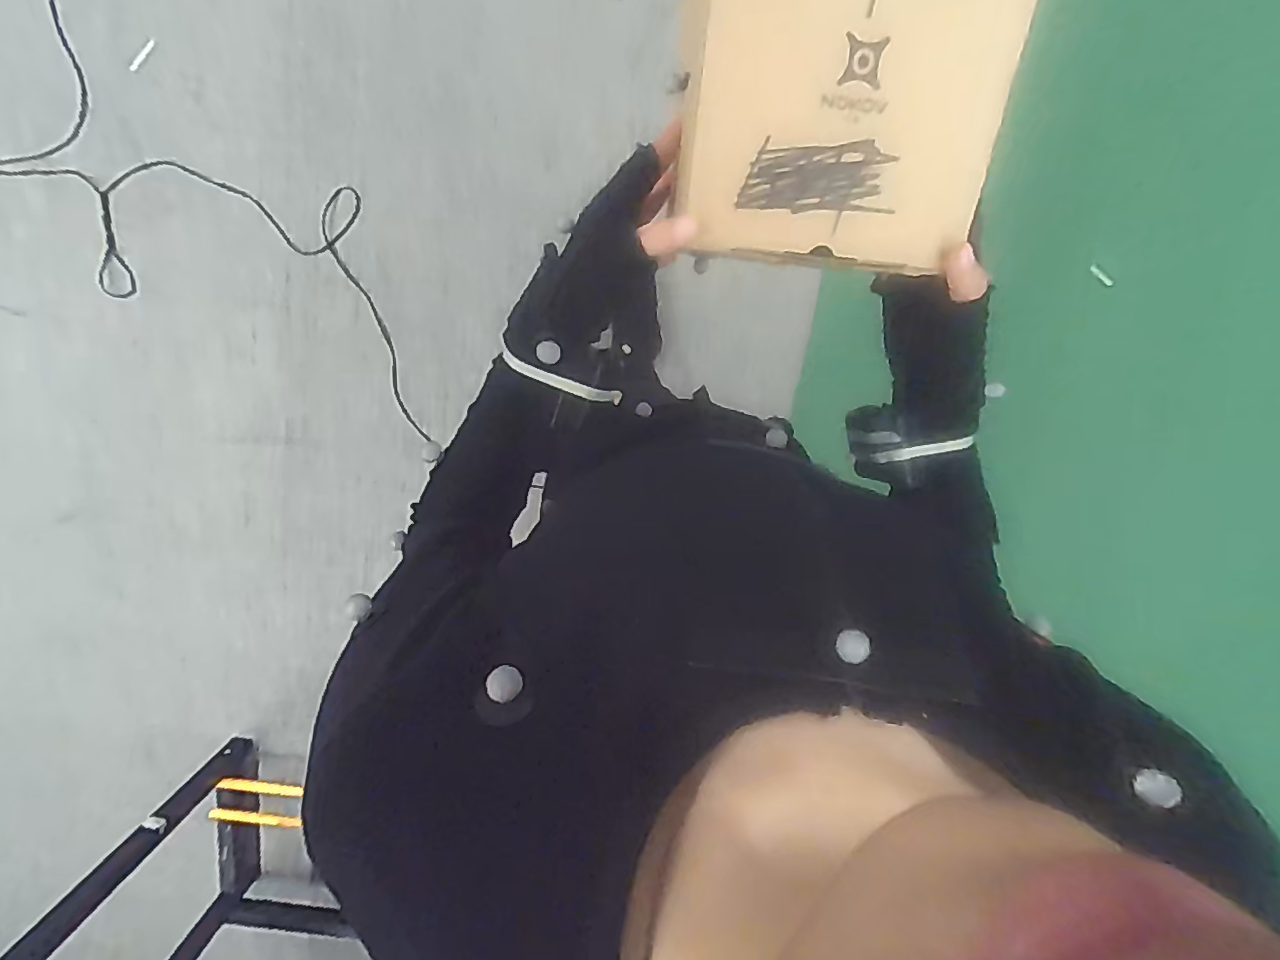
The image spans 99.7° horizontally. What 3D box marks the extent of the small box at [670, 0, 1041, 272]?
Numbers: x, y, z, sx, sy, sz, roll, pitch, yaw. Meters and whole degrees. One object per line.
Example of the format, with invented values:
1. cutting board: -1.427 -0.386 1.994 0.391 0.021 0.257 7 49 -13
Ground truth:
1. small box: 0.113 -0.238 0.356 0.168 0.176 0.179 5 110 -3
